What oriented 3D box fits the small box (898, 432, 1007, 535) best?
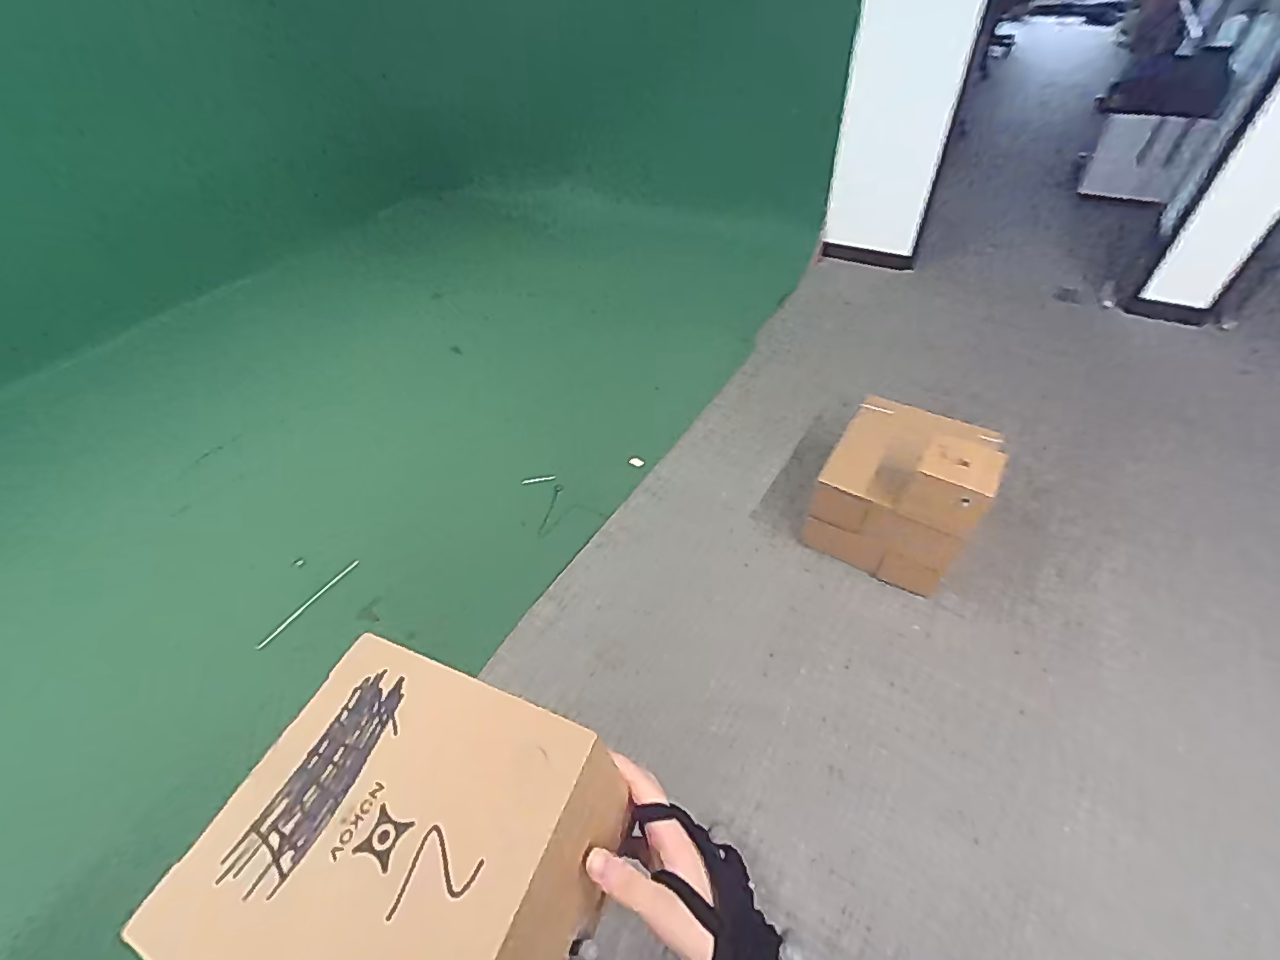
[{"bbox_3d":[0.786,0.014,1.371,0.179,0.176,0.168,25,54,25],"label":"small box"}]
